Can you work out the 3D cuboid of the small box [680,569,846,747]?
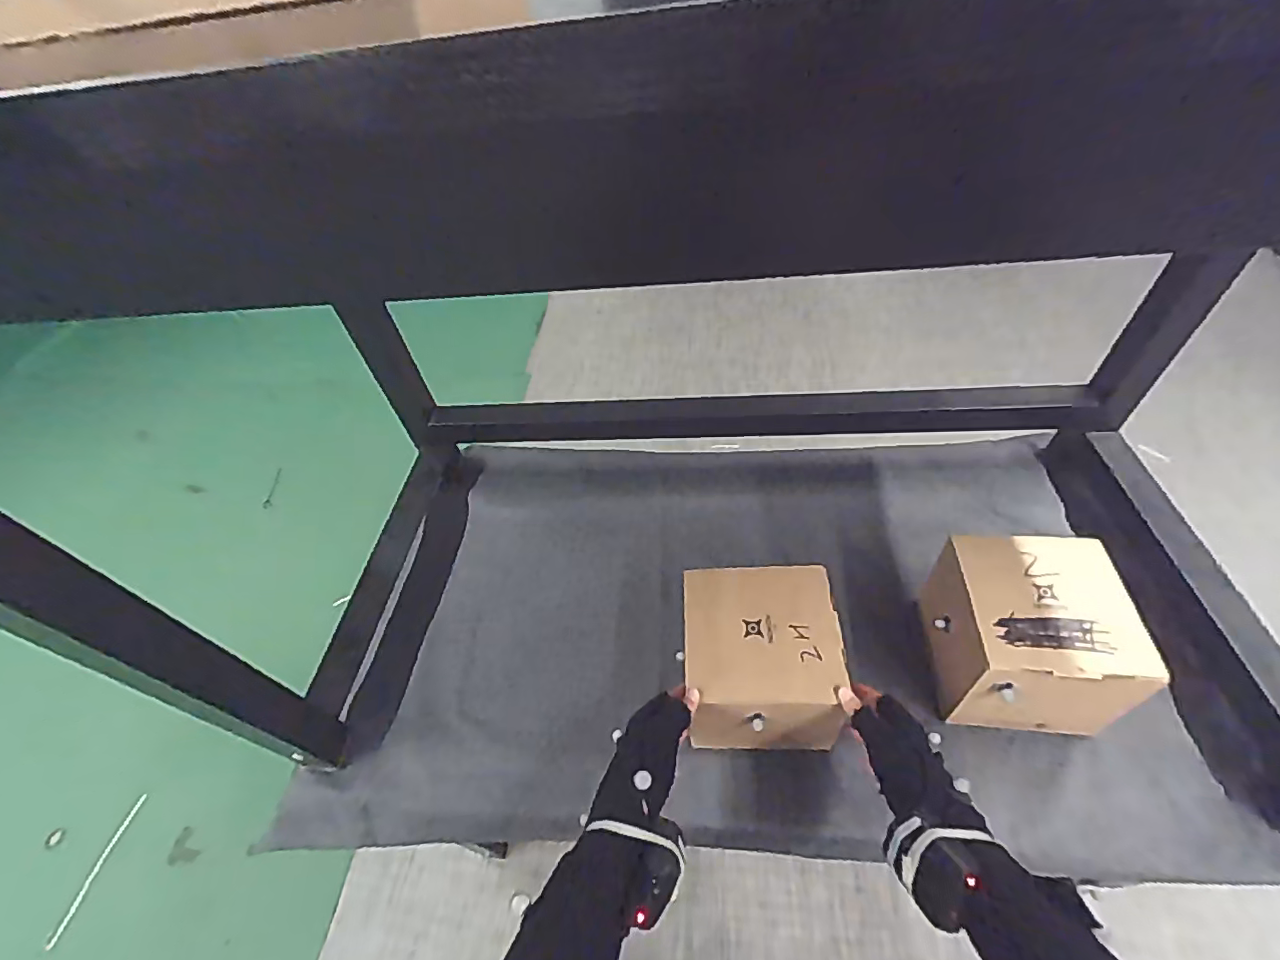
[{"bbox_3d":[0.144,0.227,0.681,0.179,0.176,0.168,-2,49,7],"label":"small box"}]

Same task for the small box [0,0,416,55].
[{"bbox_3d":[-0.161,-0.265,0.182,0.168,0.176,0.179,-2,48,7],"label":"small box"}]
